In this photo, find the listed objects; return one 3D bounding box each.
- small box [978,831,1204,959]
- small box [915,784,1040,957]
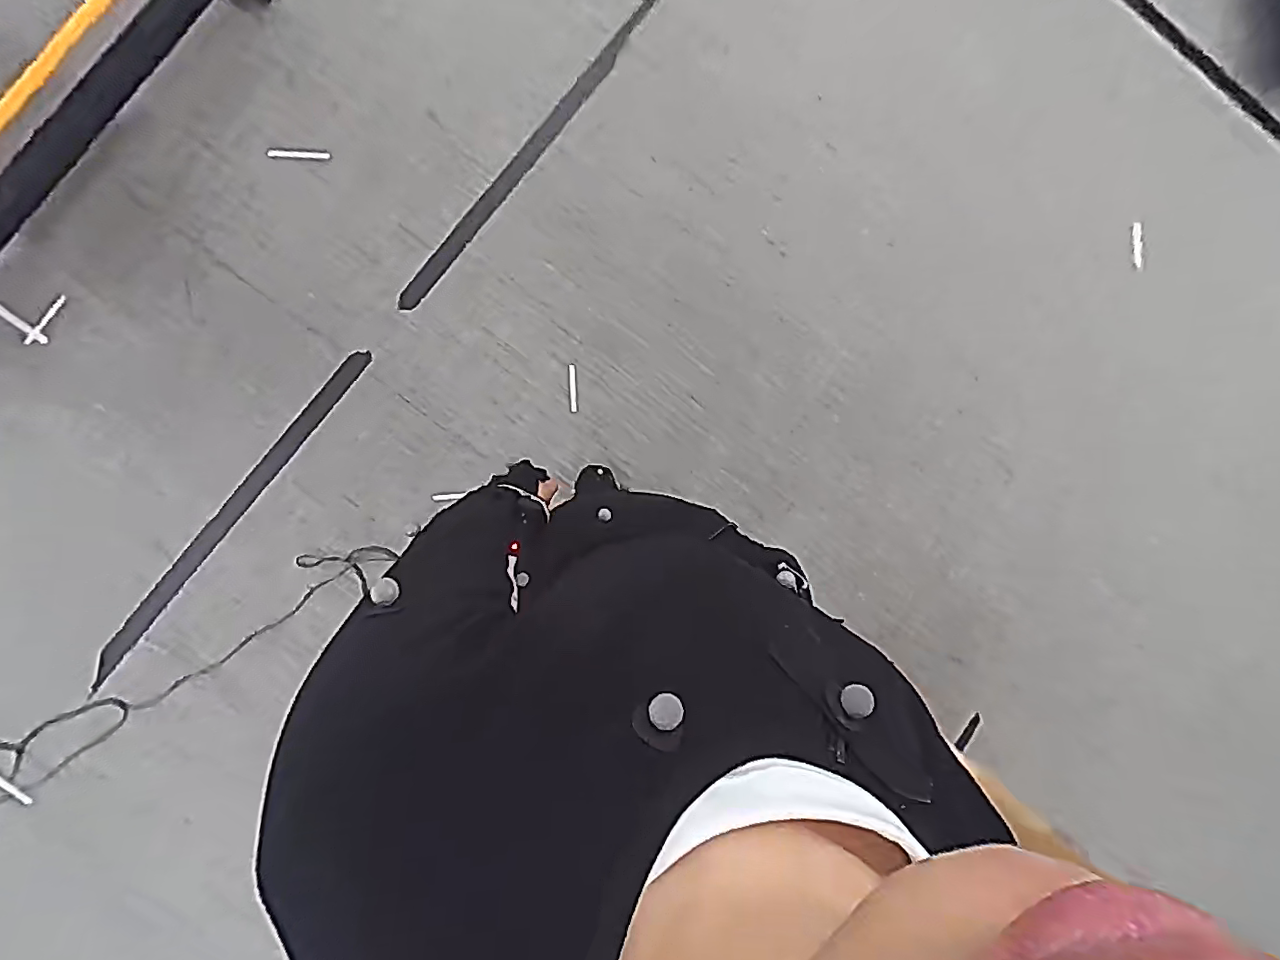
[{"bbox_3d":[0.576,0.609,0.687,0.179,0.176,0.168,-45,90,-4],"label":"small box"},{"bbox_3d":[0.578,0.629,0.849,0.168,0.176,0.179,40,87,0],"label":"small box"}]
